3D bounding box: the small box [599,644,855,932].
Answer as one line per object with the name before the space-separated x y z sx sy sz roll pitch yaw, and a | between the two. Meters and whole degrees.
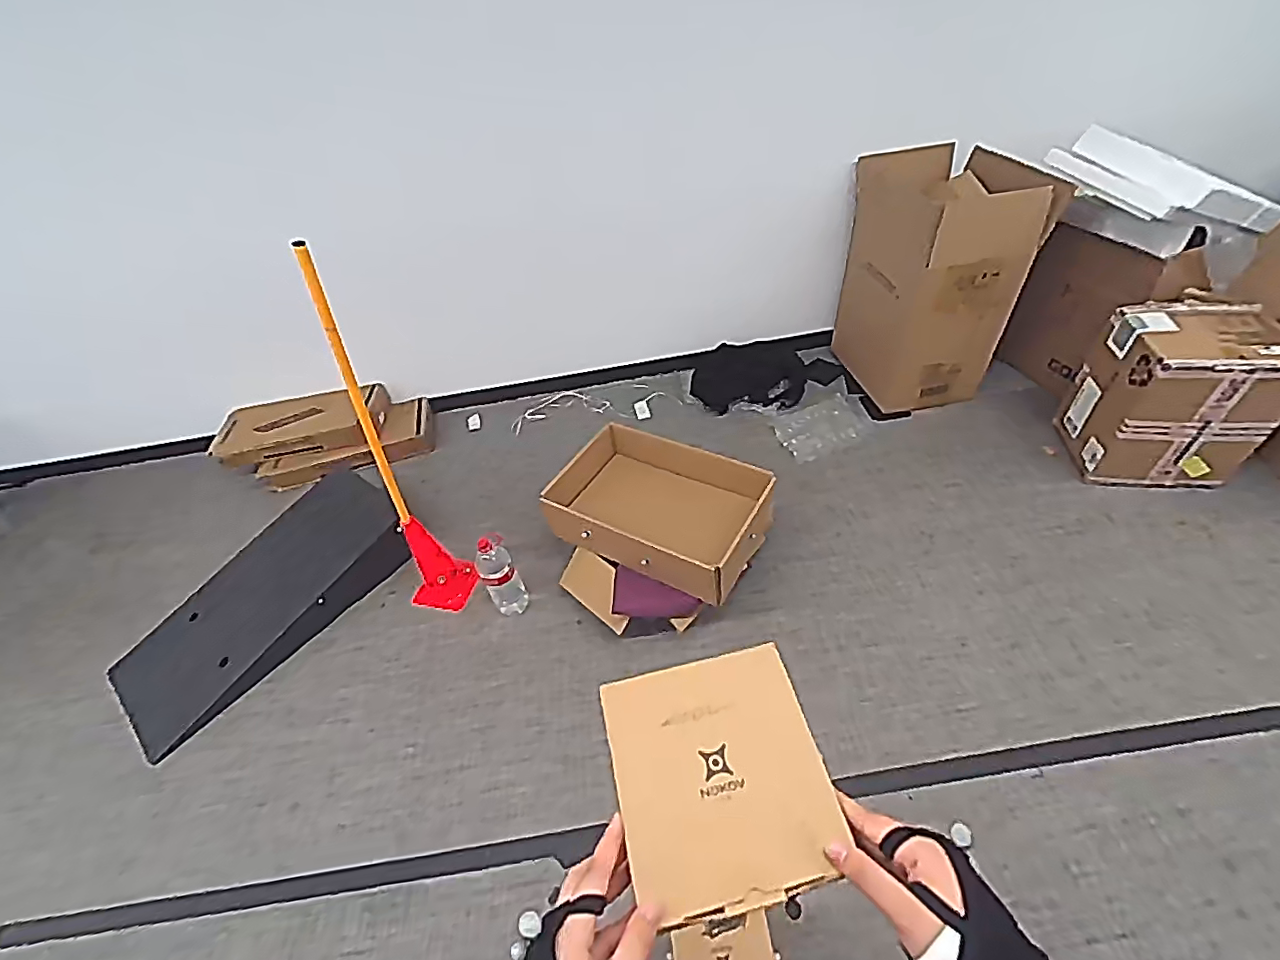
small box | 0.065 0.280 0.494 0.168 0.176 0.179 -12 50 -6
